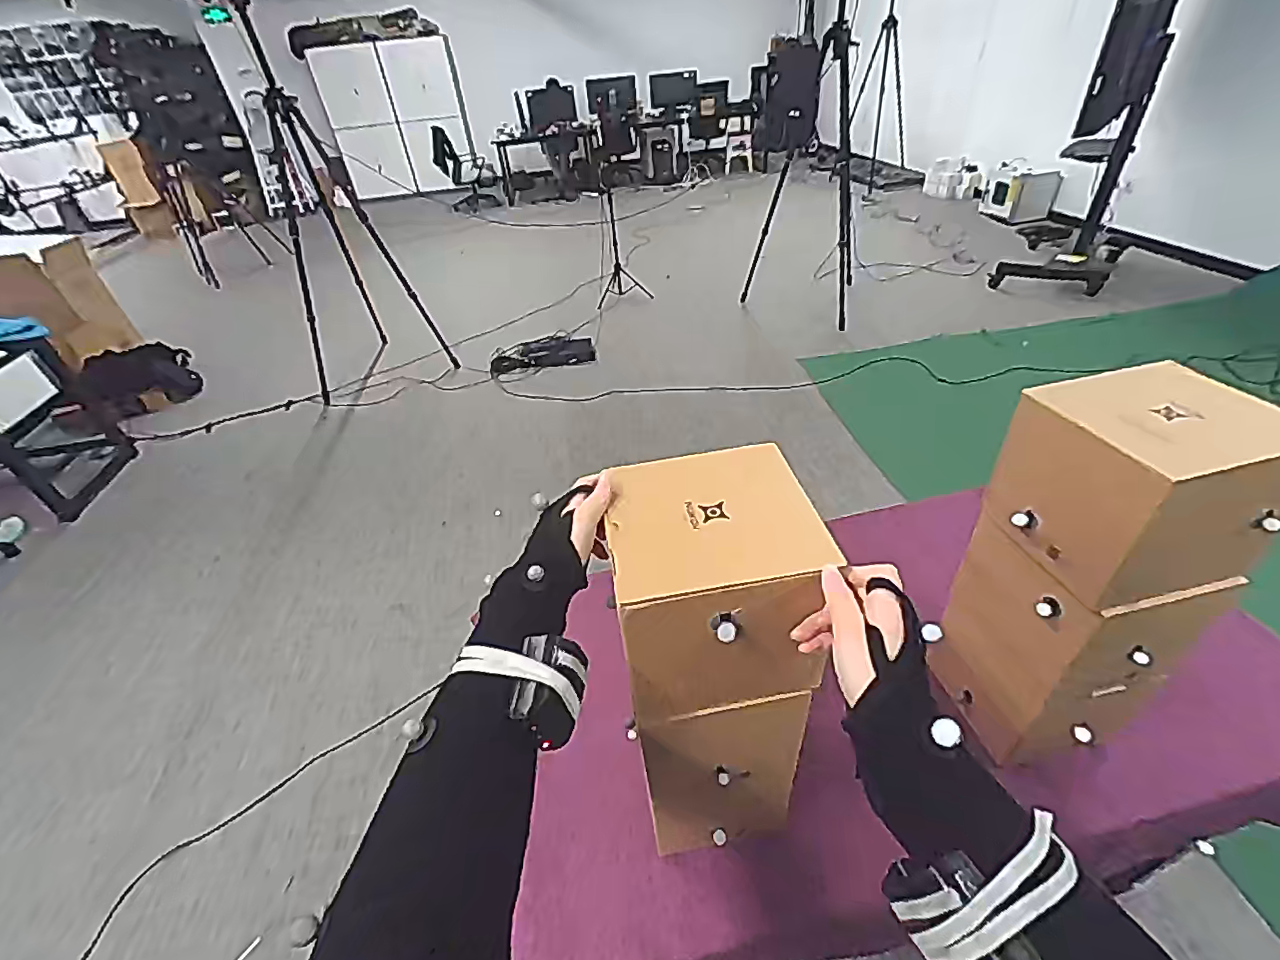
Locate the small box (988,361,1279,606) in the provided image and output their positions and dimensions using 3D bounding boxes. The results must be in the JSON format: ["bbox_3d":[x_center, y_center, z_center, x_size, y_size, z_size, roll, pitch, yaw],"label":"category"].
[{"bbox_3d":[0.505,0.002,0.554,0.179,0.176,0.168,-12,38,-5],"label":"small box"}]

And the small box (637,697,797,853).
[{"bbox_3d":[0.089,0.350,0.710,0.168,0.176,0.179,-10,40,-4],"label":"small box"}]

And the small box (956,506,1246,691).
[{"bbox_3d":[0.526,0.132,0.652,0.168,0.176,0.179,-11,39,-5],"label":"small box"}]

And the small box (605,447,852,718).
[{"bbox_3d":[0.069,0.094,0.506,0.179,0.176,0.168,-10,39,-3],"label":"small box"}]

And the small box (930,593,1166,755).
[{"bbox_3d":[0.545,0.259,0.755,0.168,0.176,0.179,-11,39,-5],"label":"small box"}]
